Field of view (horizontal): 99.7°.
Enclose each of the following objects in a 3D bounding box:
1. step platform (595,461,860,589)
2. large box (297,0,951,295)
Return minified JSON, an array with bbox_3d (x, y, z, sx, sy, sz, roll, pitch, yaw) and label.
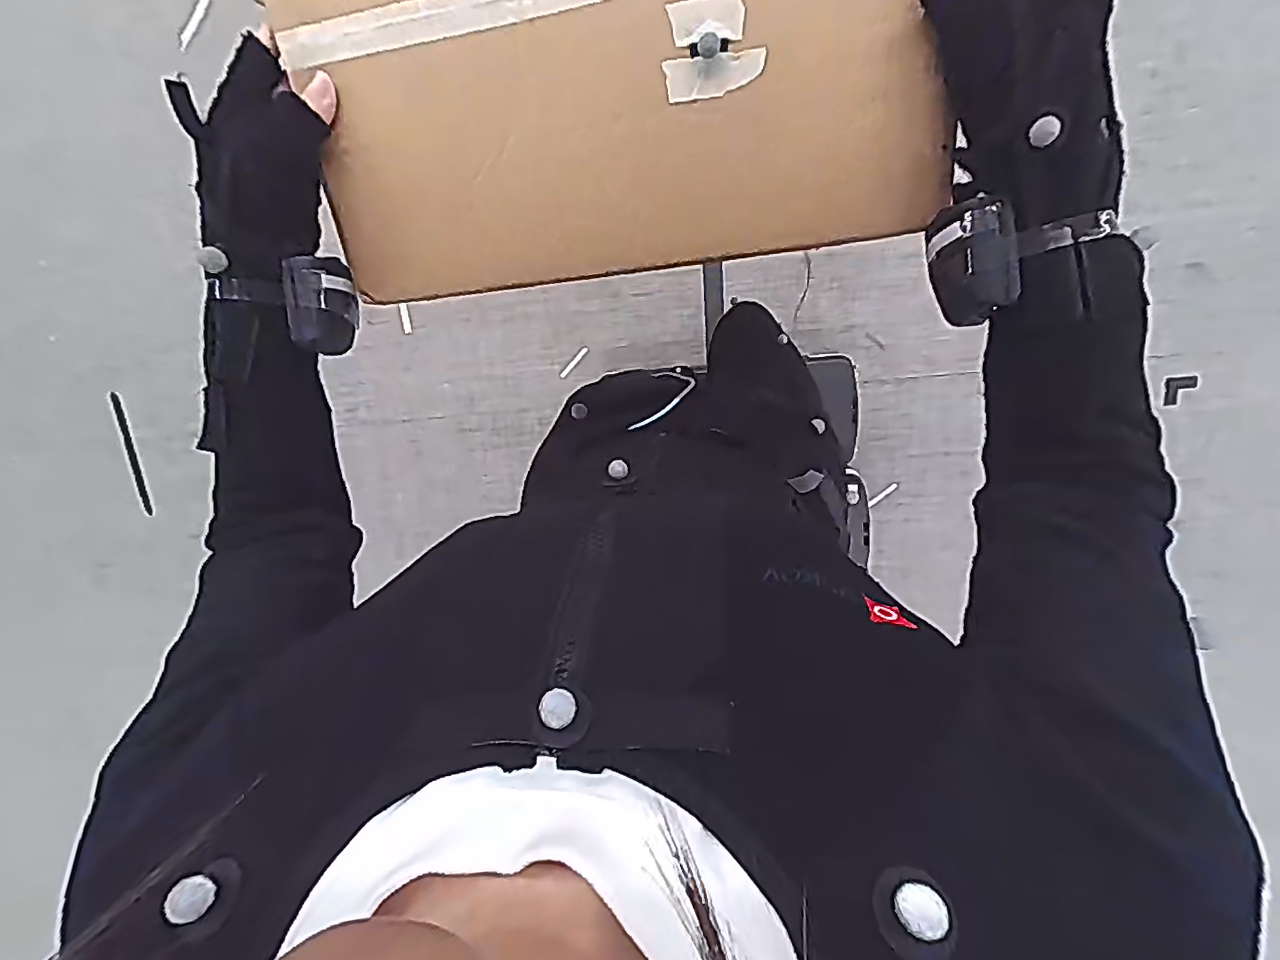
[{"bbox_3d":[0.221,0.124,1.447,0.684,0.204,0.286,-4,102,9],"label":"step platform"},{"bbox_3d":[-0.005,-0.355,0.459,0.408,0.320,0.320,-4,113,10],"label":"large box"}]
